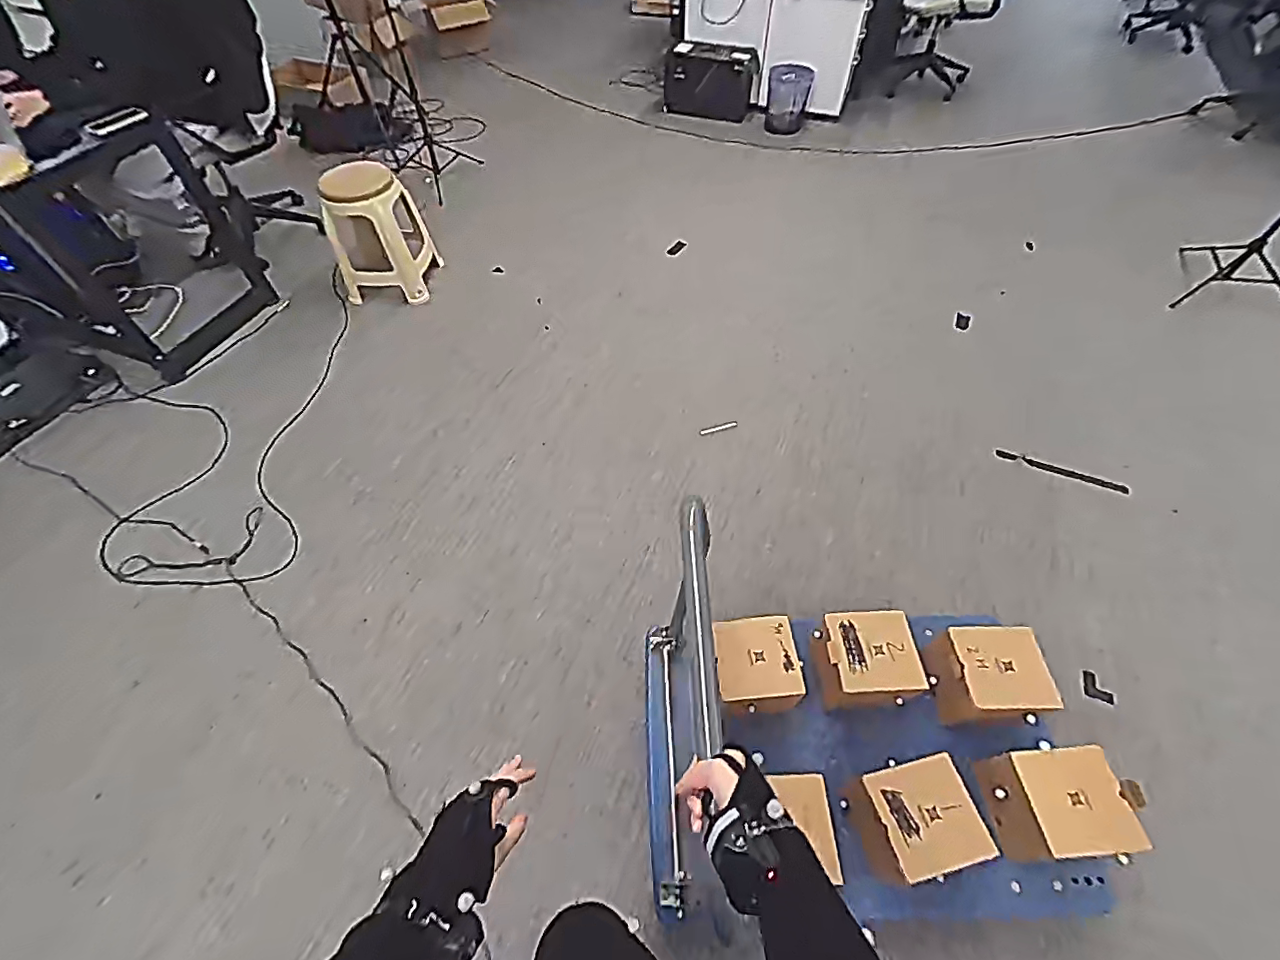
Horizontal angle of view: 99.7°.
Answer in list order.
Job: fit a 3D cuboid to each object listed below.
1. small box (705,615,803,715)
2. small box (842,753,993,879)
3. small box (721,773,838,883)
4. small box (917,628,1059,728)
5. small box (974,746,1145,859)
[{"bbox_3d":[0.238,0.411,1.188,0.179,0.176,0.168,-4,55,-2],"label":"small box"},{"bbox_3d":[0.505,0.638,1.024,0.179,0.176,0.168,-10,55,-8],"label":"small box"},{"bbox_3d":[0.248,0.655,1.017,0.179,0.176,0.168,0,55,0],"label":"small box"},{"bbox_3d":[0.737,0.430,1.167,0.179,0.176,0.168,0,54,2],"label":"small box"},{"bbox_3d":[0.777,0.620,1.034,0.179,0.176,0.168,-3,54,-2],"label":"small box"}]
